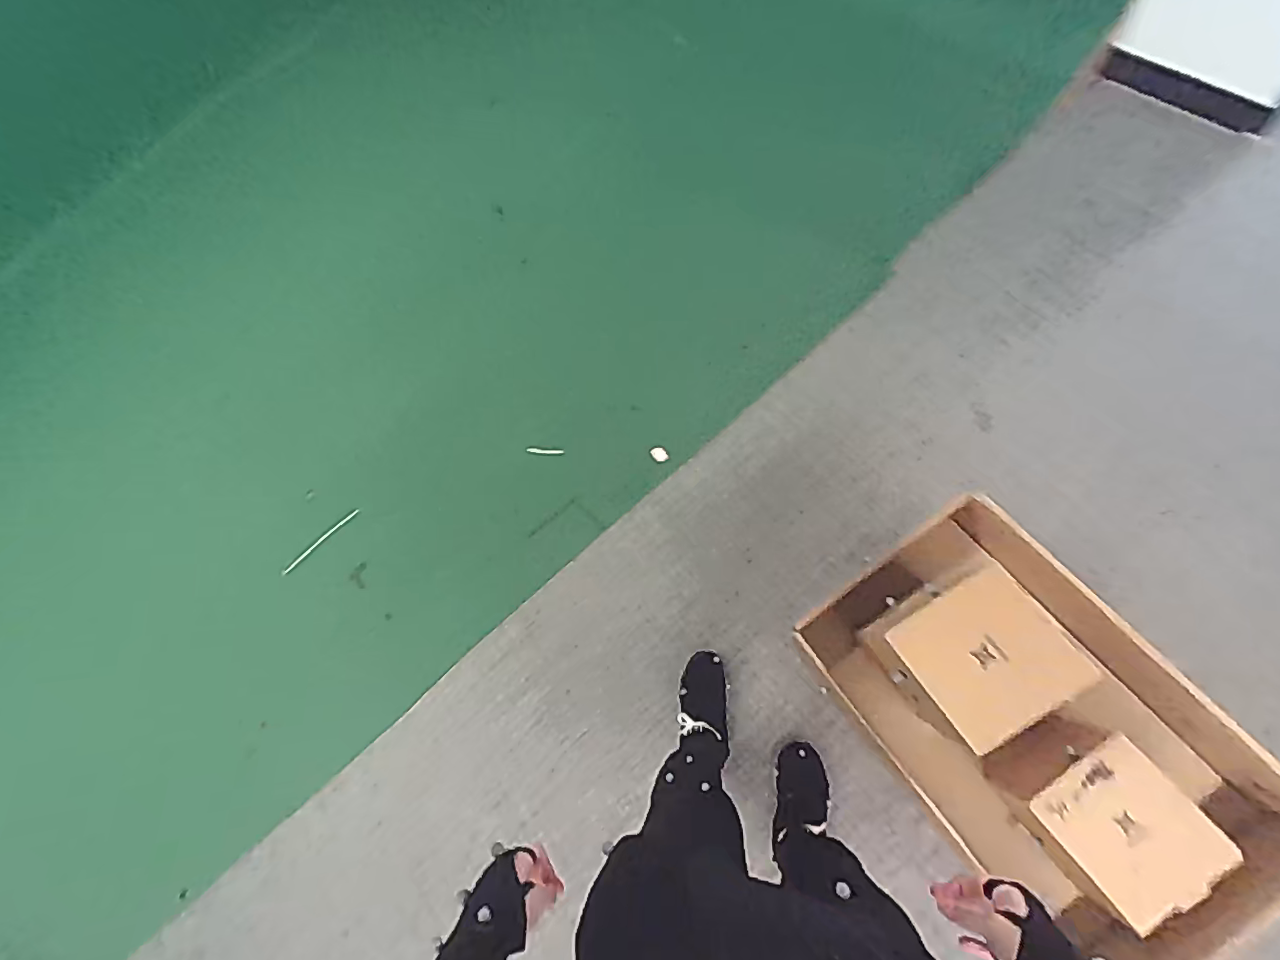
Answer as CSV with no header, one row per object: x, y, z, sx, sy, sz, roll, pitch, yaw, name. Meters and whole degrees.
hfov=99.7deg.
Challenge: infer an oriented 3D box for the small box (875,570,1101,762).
0.443,0.248,0.730,0.179,0.176,0.168,-34,67,0,small box
